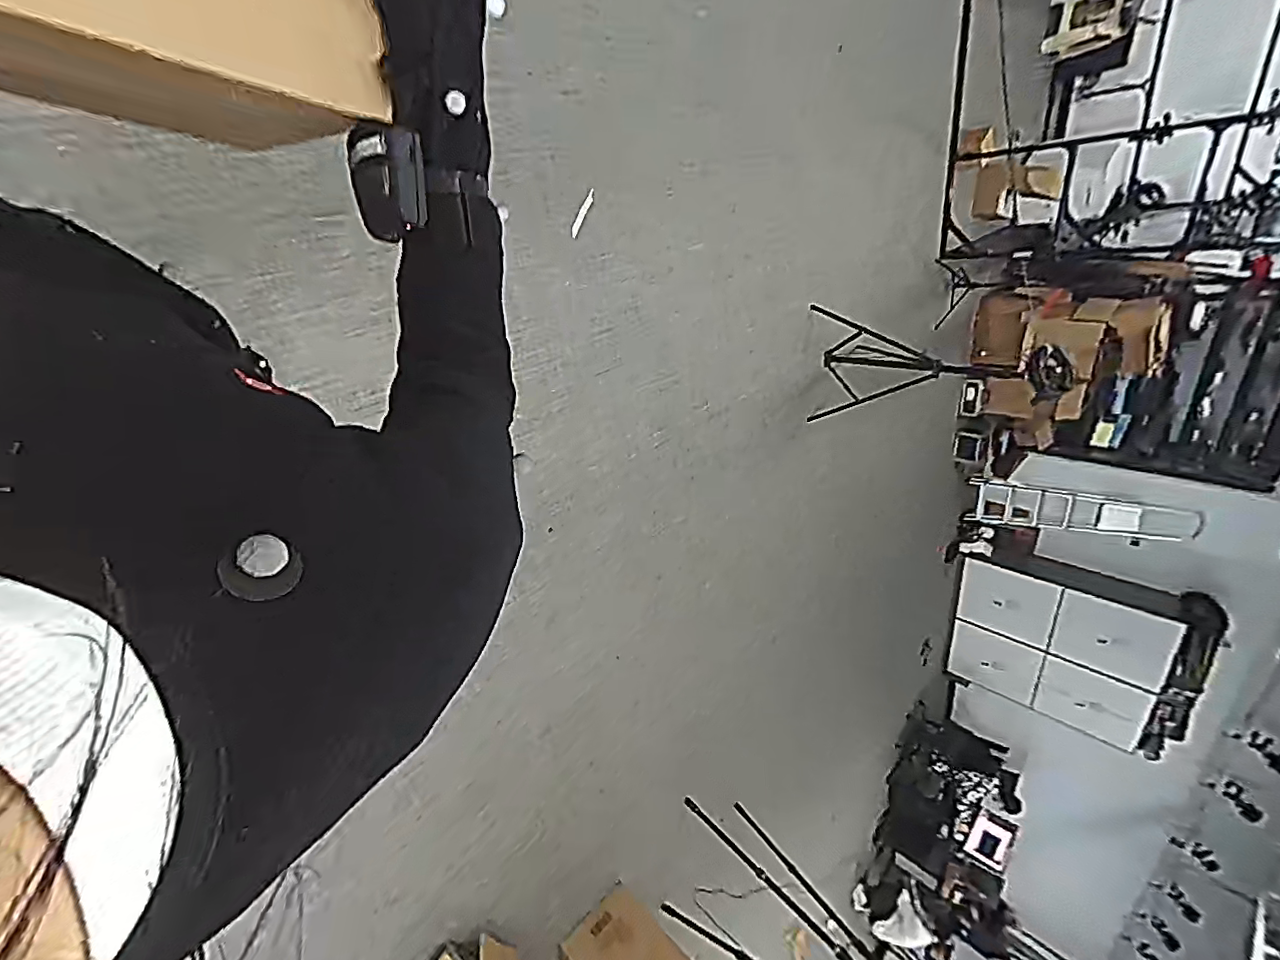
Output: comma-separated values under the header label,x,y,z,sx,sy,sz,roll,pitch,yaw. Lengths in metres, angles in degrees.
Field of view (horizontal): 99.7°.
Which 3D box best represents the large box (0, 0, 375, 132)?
label,x,y,z,sx,sy,sz,roll,pitch,yaw
large box,-0.403,-0.403,0.259,0.408,0.320,0.320,-14,121,-46
